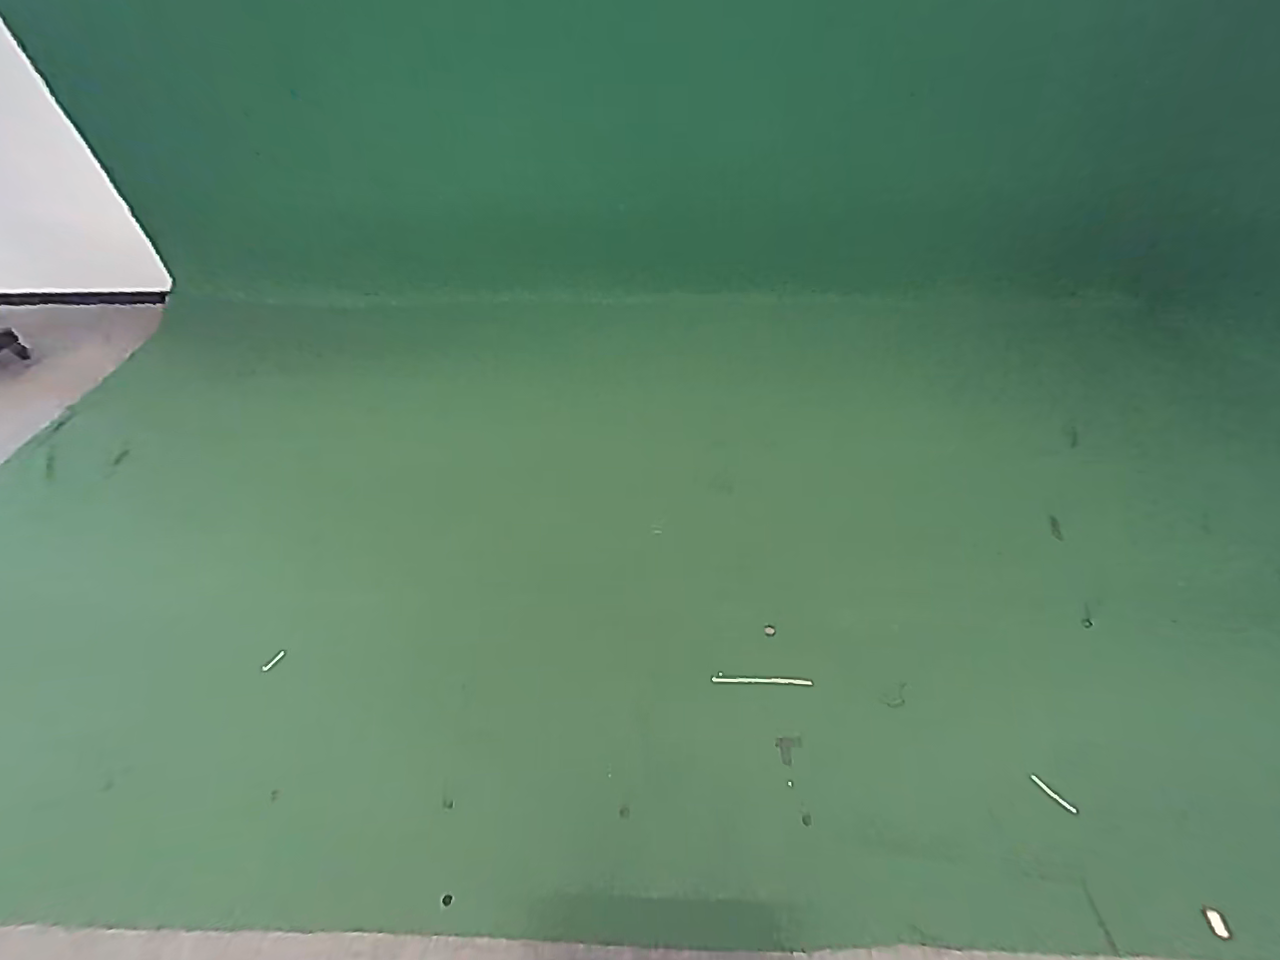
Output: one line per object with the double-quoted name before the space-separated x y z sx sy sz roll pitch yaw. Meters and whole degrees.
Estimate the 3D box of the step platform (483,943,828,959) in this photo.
"step platform" 0.035 1.018 0.957 0.684 0.204 0.286 0 47 2
